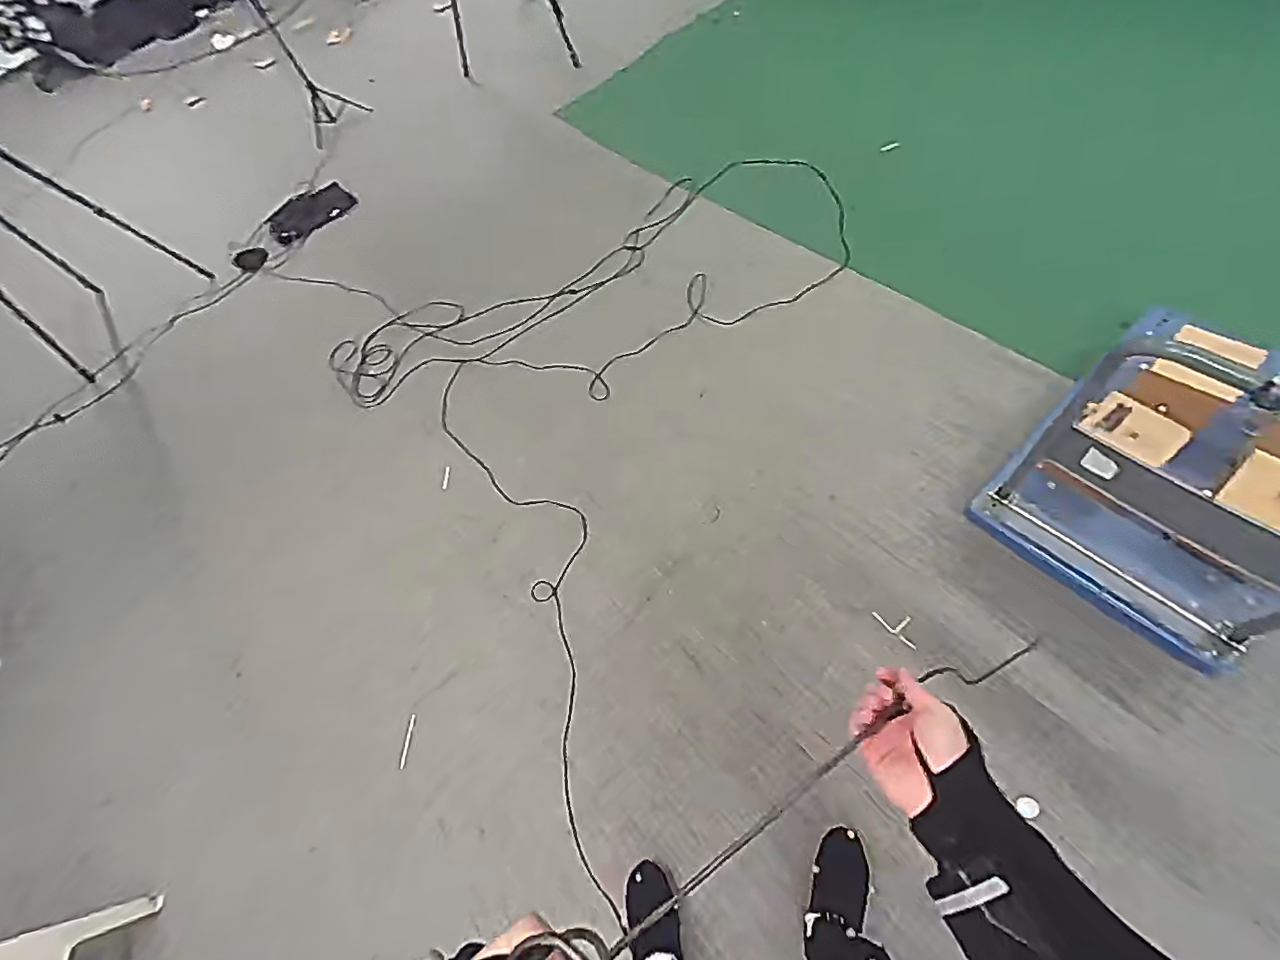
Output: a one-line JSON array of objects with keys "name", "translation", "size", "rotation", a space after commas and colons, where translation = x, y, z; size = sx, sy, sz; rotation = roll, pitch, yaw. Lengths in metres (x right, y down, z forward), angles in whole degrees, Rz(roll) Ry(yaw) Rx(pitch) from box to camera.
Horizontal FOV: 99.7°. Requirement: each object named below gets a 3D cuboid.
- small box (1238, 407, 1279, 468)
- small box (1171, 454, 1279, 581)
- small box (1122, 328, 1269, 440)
[{"name": "small box", "translation": [1.513, -0.091, 1.202], "size": [0.179, 0.176, 0.168], "rotation": [-45, 60, -11]}, {"name": "small box", "translation": [1.313, 0.085, 1.157], "size": [0.179, 0.176, 0.168], "rotation": [-41, 60, -9]}, {"name": "small box", "translation": [1.340, -0.229, 1.322], "size": [0.179, 0.176, 0.168], "rotation": [-45, 62, -12]}]
